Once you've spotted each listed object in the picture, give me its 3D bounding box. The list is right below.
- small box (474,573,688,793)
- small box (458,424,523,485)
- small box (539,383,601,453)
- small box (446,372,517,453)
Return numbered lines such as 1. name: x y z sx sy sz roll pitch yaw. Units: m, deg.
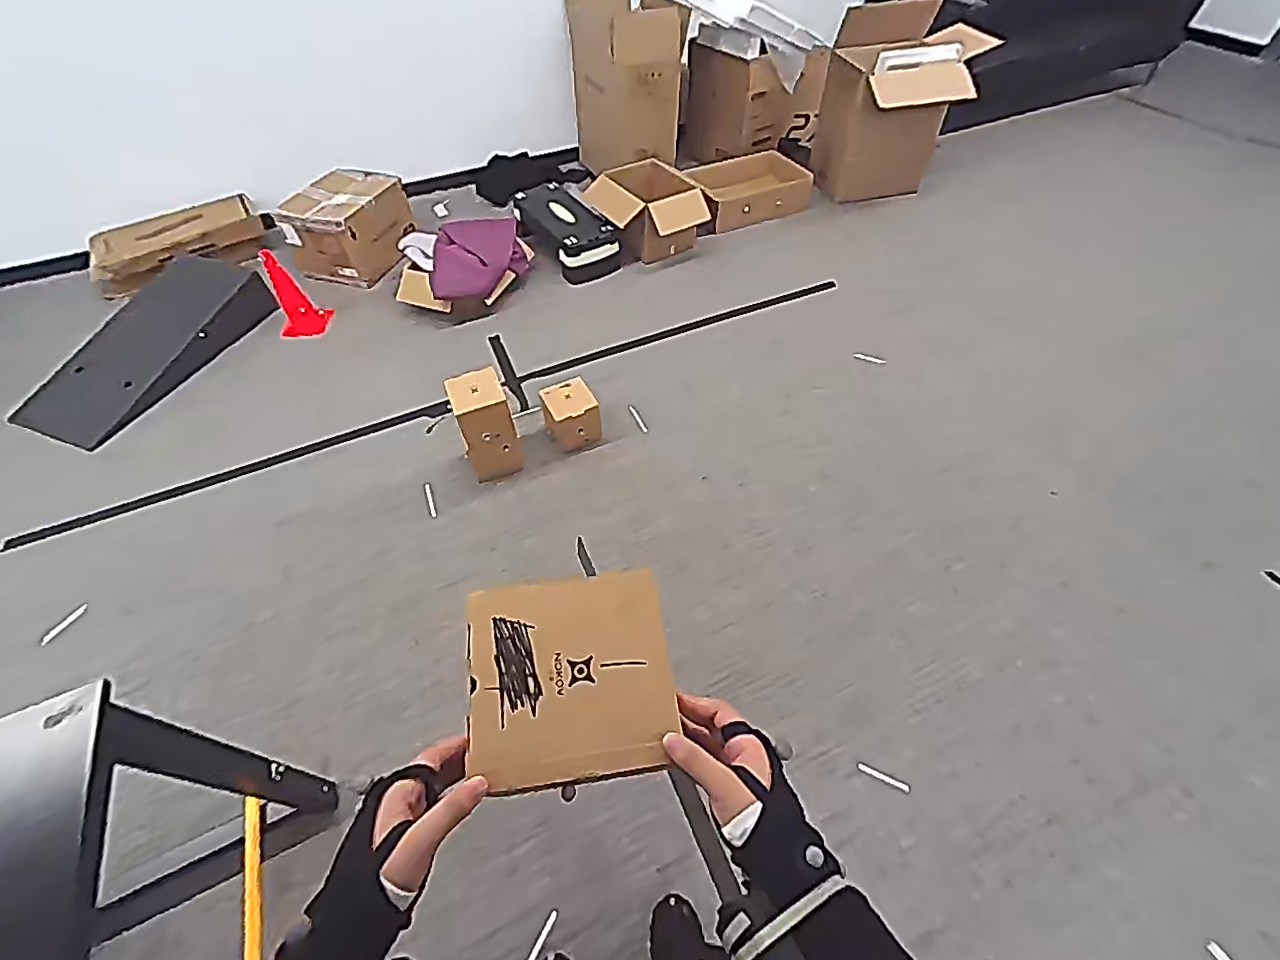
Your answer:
1. small box: -0.059 0.208 0.541 0.179 0.176 0.168 -6 60 -7
2. small box: -0.519 -0.112 1.903 0.179 0.176 0.168 -19 53 -13
3. small box: -0.253 -0.220 1.983 0.168 0.176 0.179 -23 55 -16
4. small box: -0.519 -0.219 1.781 0.168 0.176 0.179 -21 55 -13
